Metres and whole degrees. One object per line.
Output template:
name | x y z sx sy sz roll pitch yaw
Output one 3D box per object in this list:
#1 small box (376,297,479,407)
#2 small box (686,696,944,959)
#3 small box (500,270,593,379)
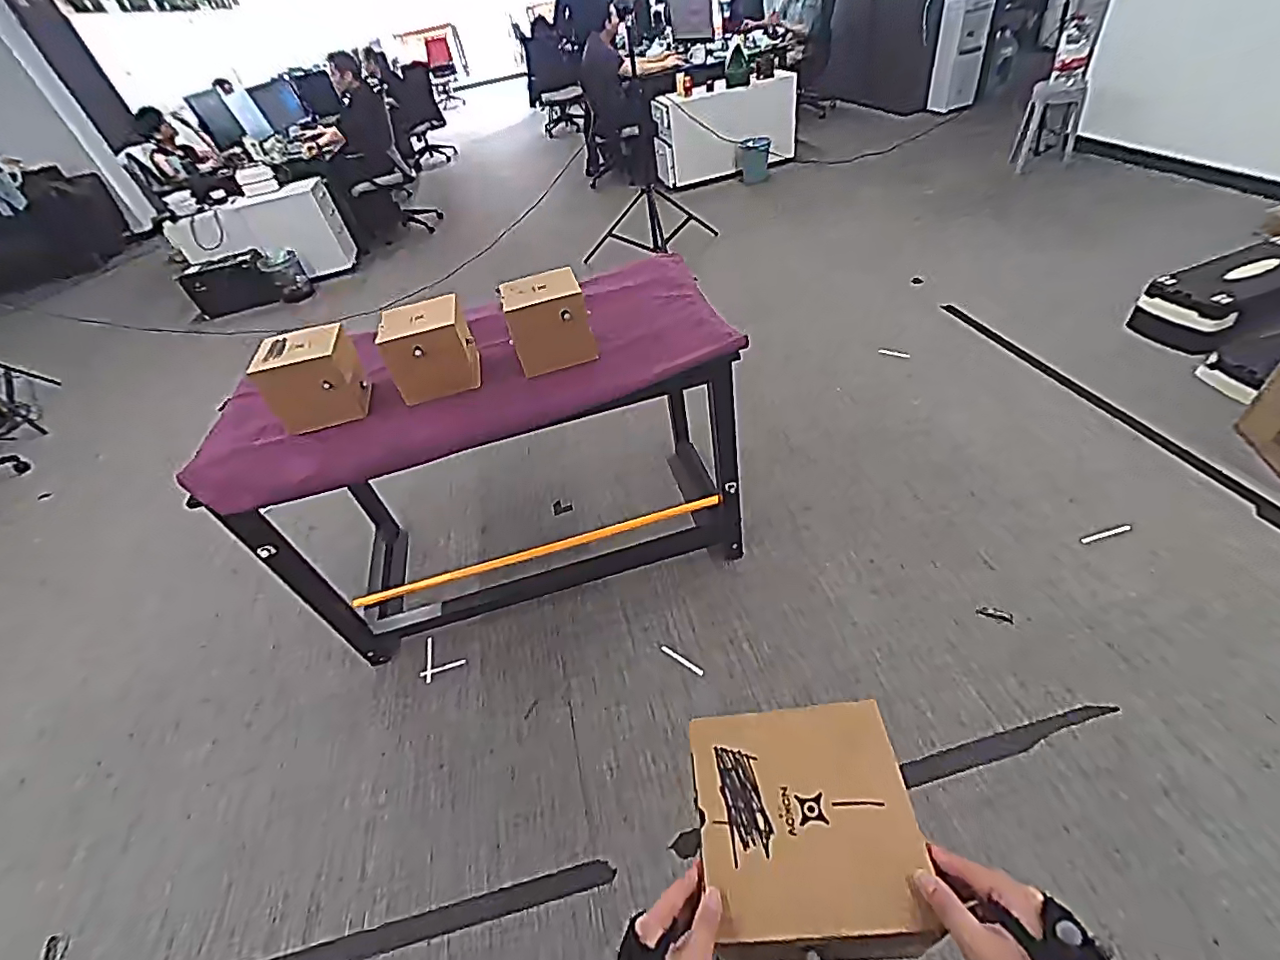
small box | -0.485 -0.297 1.265 0.179 0.176 0.168 -17 43 -3
small box | 0.146 0.323 0.498 0.179 0.176 0.168 -9 43 7
small box | -0.214 -0.363 1.265 0.179 0.176 0.168 -17 41 -4
